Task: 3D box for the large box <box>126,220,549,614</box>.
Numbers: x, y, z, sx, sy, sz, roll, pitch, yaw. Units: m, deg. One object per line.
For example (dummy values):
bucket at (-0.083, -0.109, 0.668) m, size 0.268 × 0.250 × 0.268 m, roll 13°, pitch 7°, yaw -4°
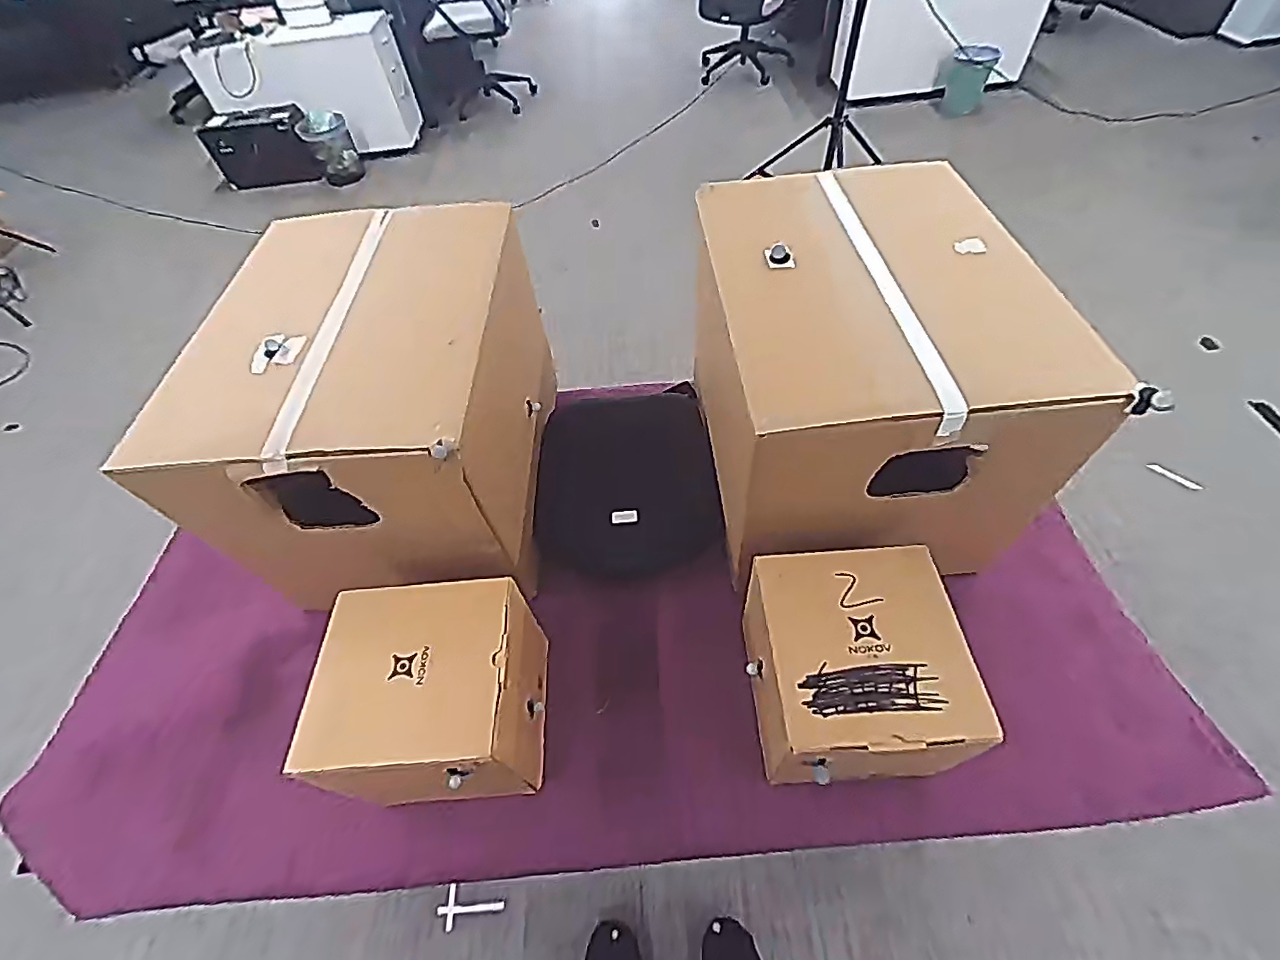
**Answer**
large box at (-0.304, -0.076, 0.704) m, size 0.320 × 0.320 × 0.408 m, roll -5°, pitch 55°, yaw 3°
